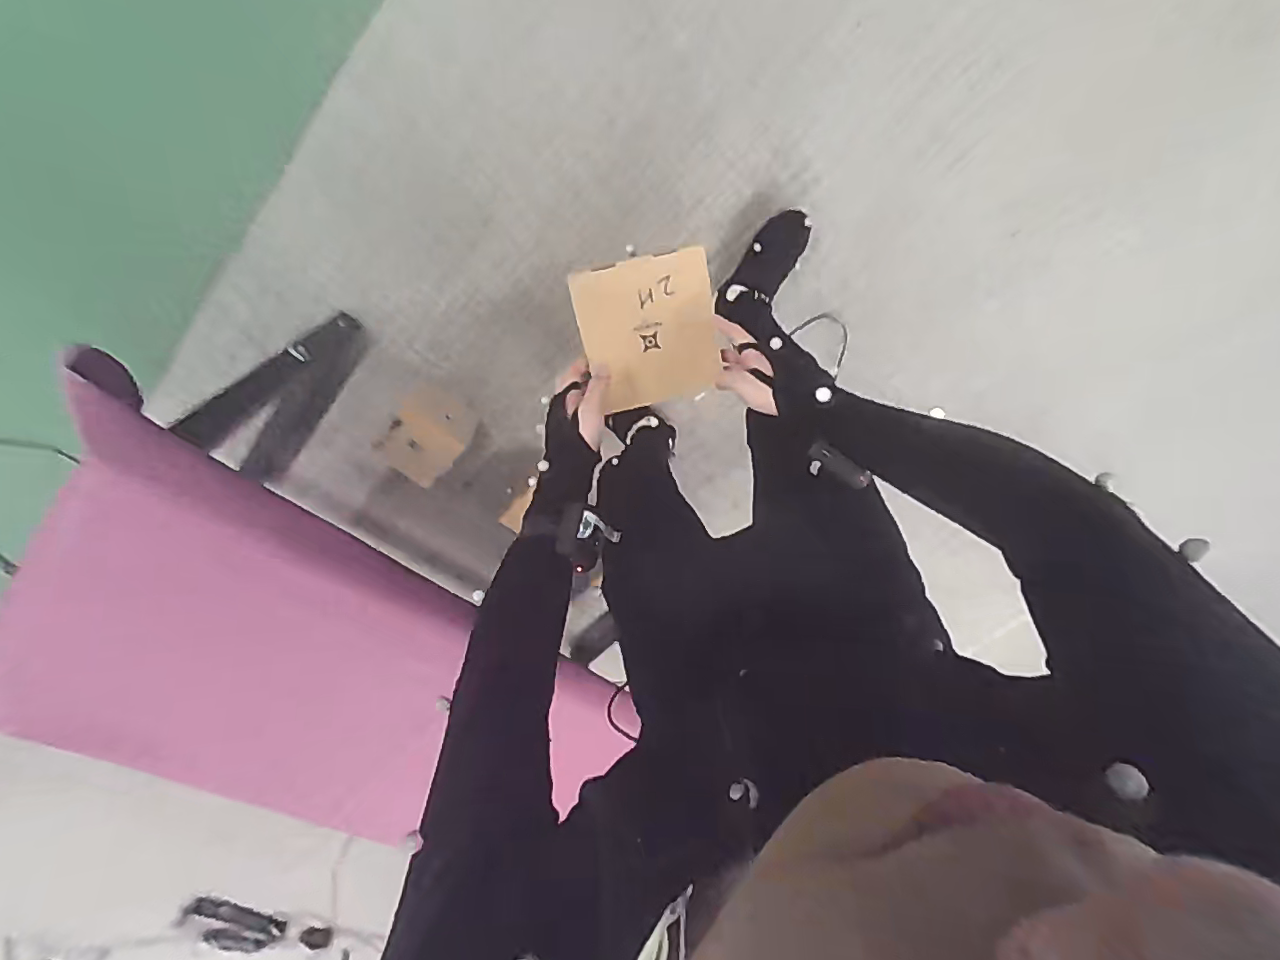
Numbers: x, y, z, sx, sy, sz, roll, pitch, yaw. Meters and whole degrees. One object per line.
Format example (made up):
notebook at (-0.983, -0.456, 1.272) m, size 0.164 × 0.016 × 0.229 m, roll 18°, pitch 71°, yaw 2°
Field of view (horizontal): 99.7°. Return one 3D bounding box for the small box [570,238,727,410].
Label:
small box at (0.013, -0.212, 0.715) m, size 0.168 × 0.176 × 0.179 m, roll -11°, pitch 114°, yaw 3°

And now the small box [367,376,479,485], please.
small box at (-0.522, -0.126, 1.329) m, size 0.168 × 0.176 × 0.179 m, roll -40°, pitch 116°, yaw 19°

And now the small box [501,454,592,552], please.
small box at (-0.247, 0.053, 1.459) m, size 0.179 × 0.176 × 0.168 m, roll 38°, pitch 113°, yaw -24°
